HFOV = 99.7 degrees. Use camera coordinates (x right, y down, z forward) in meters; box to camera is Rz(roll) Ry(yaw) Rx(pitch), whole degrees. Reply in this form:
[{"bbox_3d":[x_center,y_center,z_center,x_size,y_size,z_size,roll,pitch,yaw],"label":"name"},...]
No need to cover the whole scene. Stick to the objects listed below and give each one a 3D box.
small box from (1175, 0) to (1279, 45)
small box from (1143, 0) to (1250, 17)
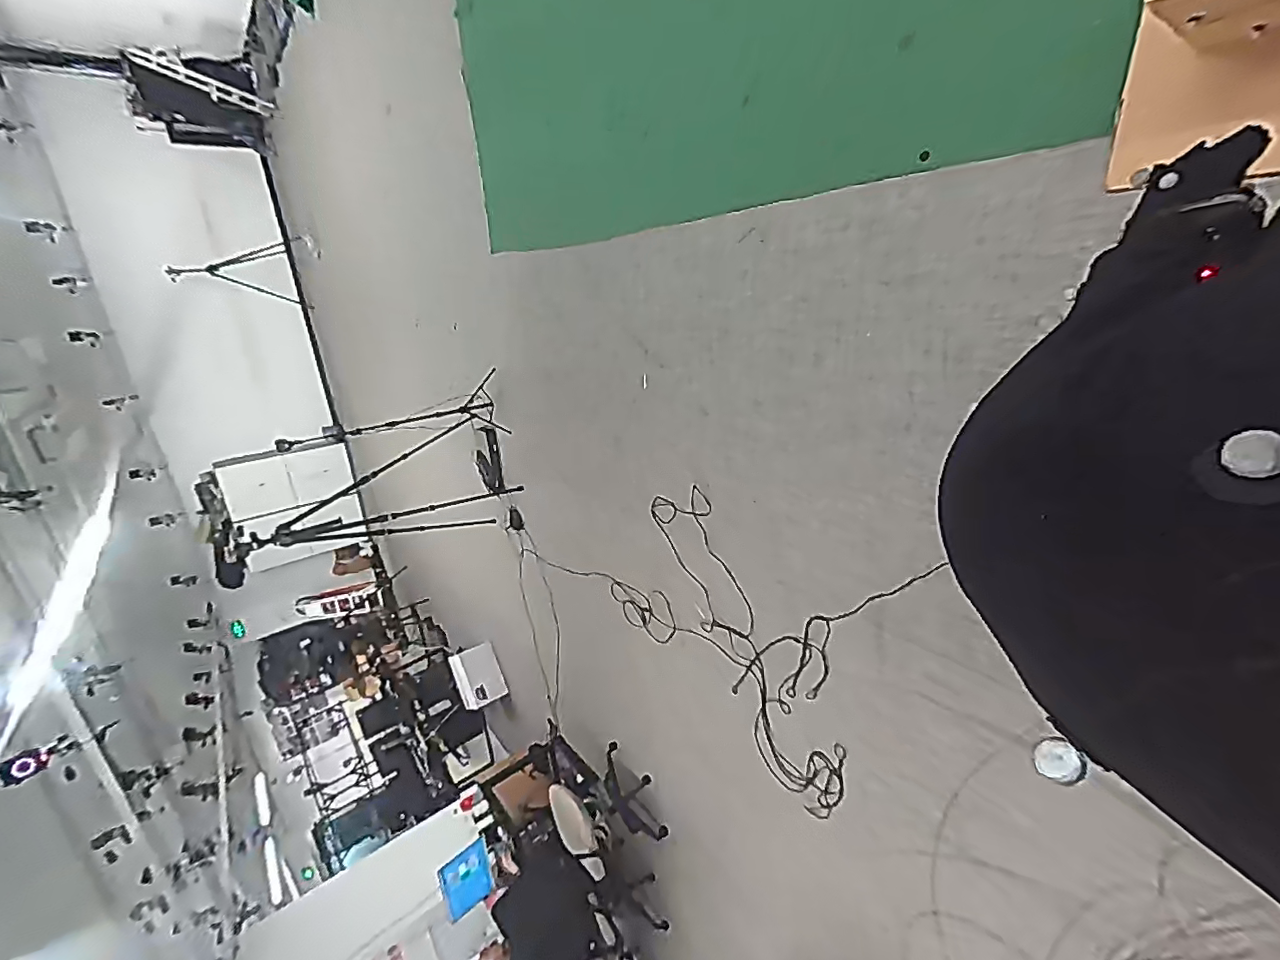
[{"bbox_3d":[0.948,-0.793,0.804,0.168,0.176,0.179,22,122,50],"label":"small box"},{"bbox_3d":[0.817,-0.751,0.713,0.168,0.176,0.179,23,123,48],"label":"small box"}]
